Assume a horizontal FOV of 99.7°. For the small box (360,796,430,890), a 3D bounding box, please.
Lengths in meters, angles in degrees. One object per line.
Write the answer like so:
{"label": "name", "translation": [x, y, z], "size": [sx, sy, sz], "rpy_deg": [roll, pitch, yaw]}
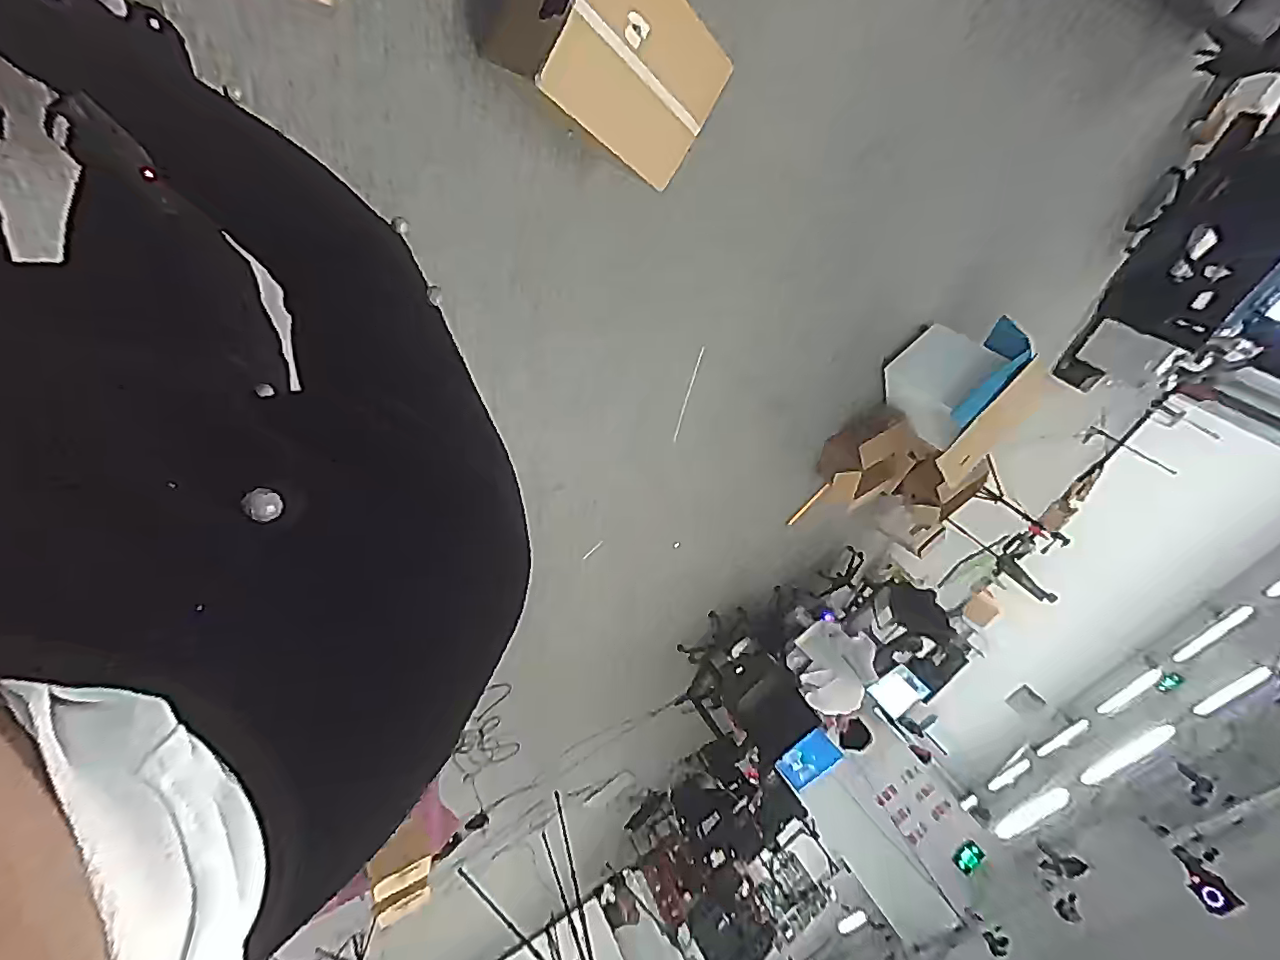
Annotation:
{"label": "small box", "translation": [-0.778, 1.141, 1.711], "size": [0.168, 0.176, 0.179], "rpy_deg": [-11, 137, -35]}

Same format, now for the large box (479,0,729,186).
{"label": "large box", "translation": [-0.082, -0.962, 1.234], "size": [0.408, 0.320, 0.320], "rpy_deg": [12, 119, -48]}
